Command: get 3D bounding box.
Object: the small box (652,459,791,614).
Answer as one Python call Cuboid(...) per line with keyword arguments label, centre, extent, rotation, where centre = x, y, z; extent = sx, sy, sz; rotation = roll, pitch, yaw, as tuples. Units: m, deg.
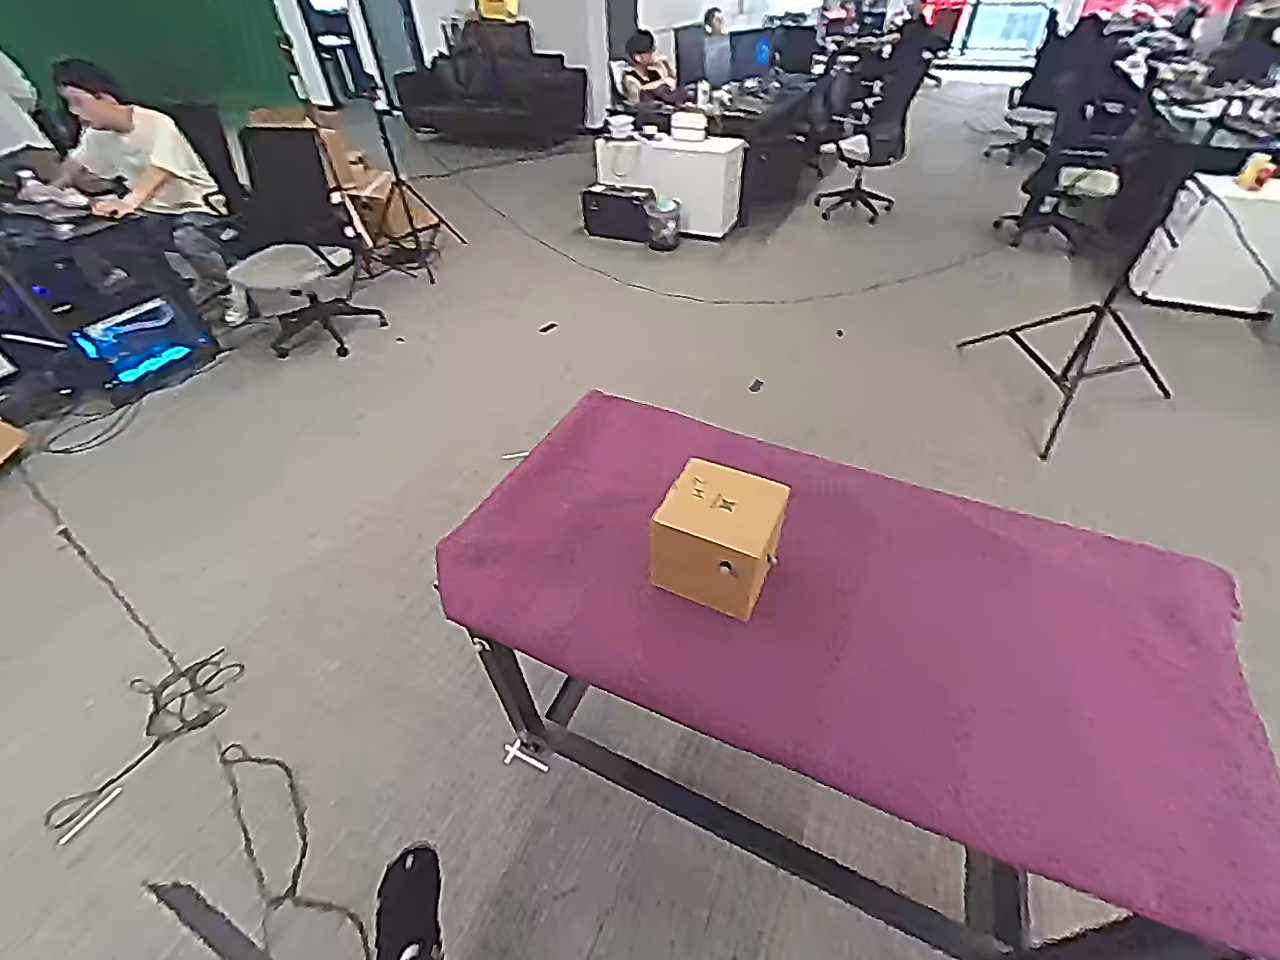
Cuboid(label="small box", centre=(0.134, 0.097, 0.904), extent=(0.179, 0.176, 0.168), rotation=(18, 46, 21))
